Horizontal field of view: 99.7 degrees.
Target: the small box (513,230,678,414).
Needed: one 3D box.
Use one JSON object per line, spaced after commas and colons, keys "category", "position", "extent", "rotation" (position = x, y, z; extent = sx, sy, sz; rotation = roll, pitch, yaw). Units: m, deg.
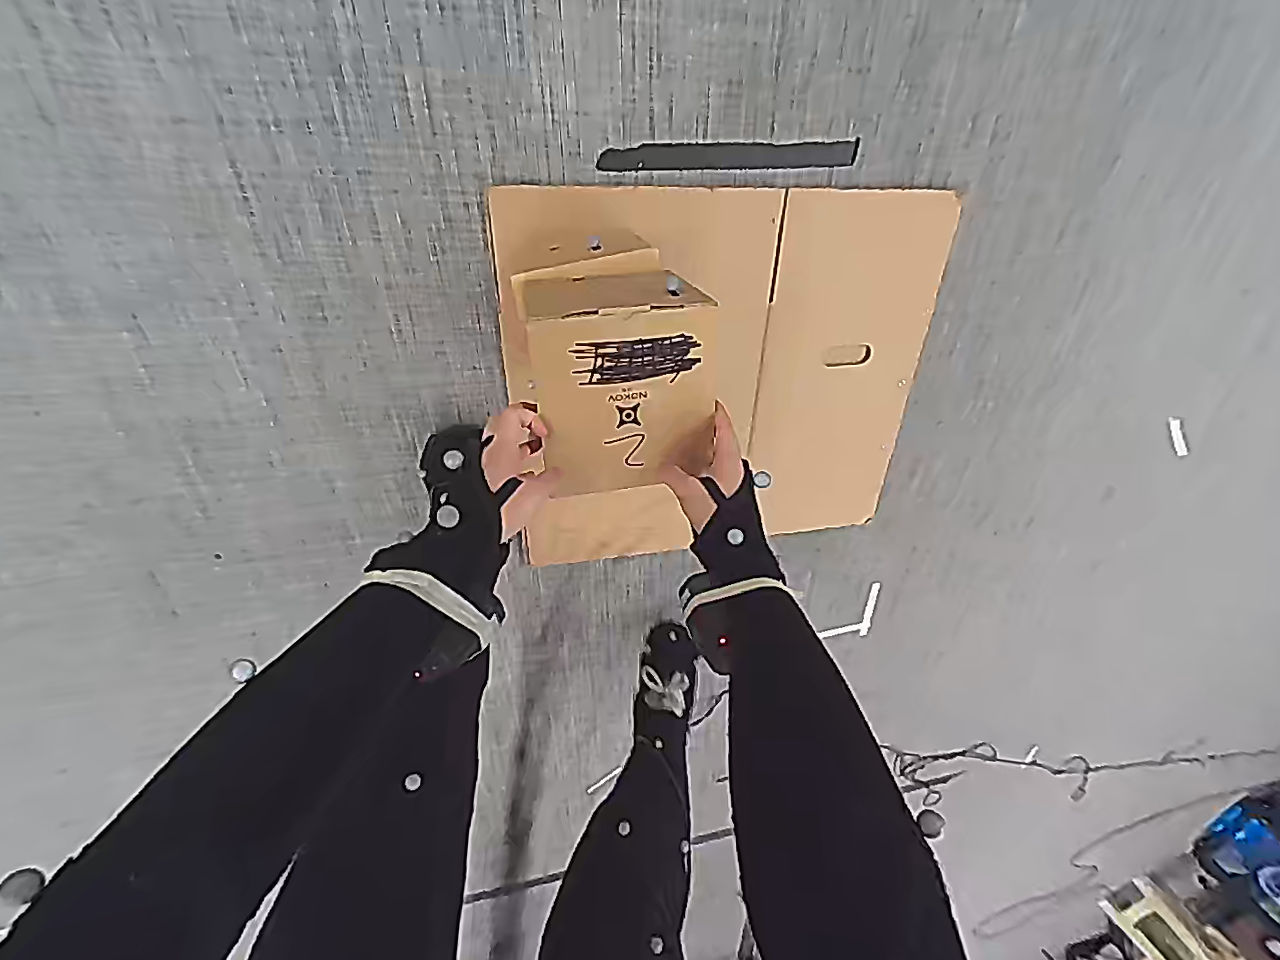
{"category": "small box", "position": [-0.060, -0.210, 0.688], "extent": [0.168, 0.176, 0.179], "rotation": [-14, 124, -6]}
